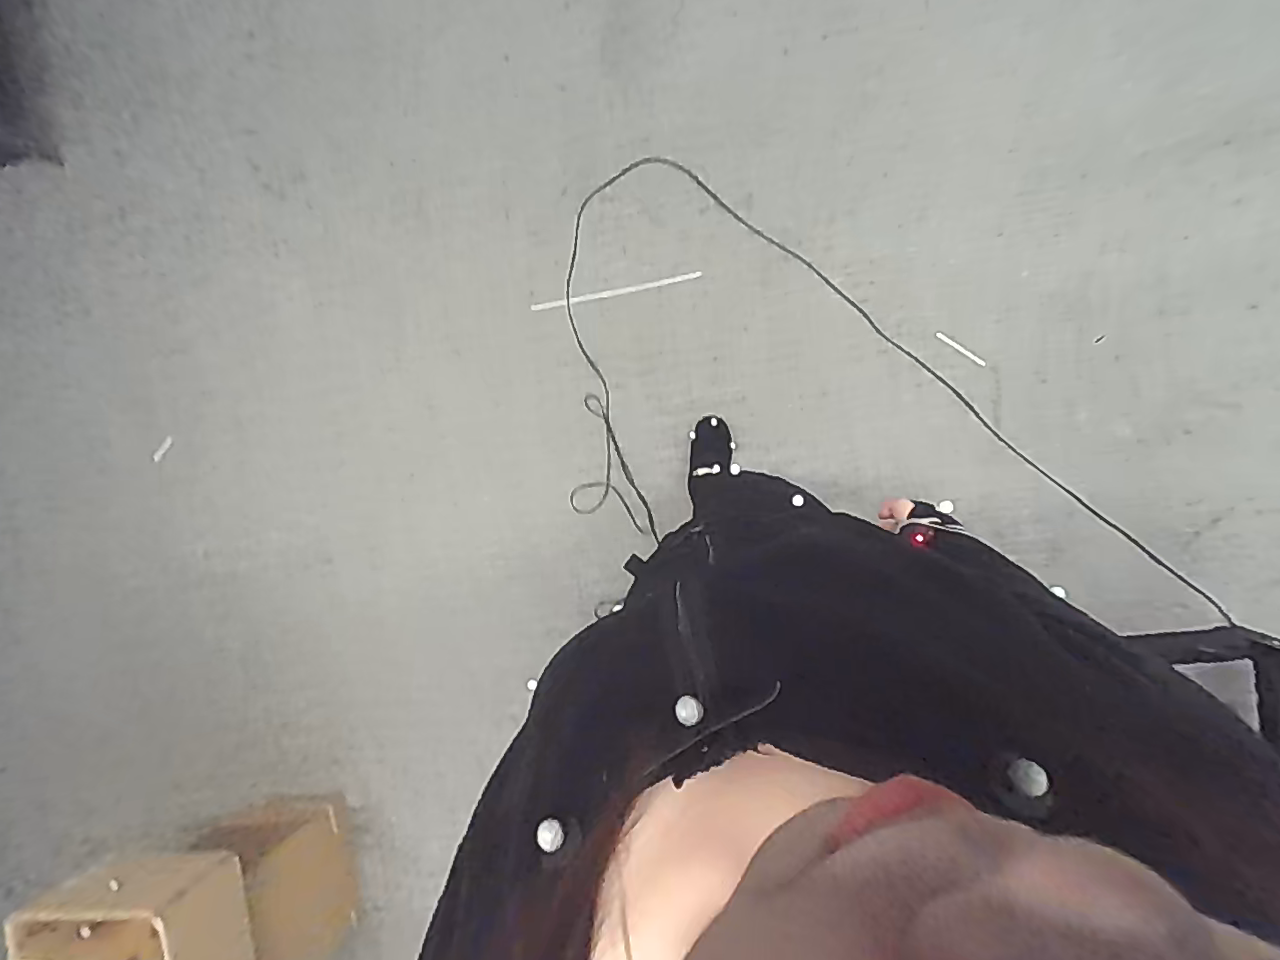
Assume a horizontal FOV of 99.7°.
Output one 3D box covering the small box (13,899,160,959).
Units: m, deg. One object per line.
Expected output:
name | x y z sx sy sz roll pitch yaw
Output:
small box | -1.193 1.057 1.175 0.179 0.176 0.168 -1 91 8
